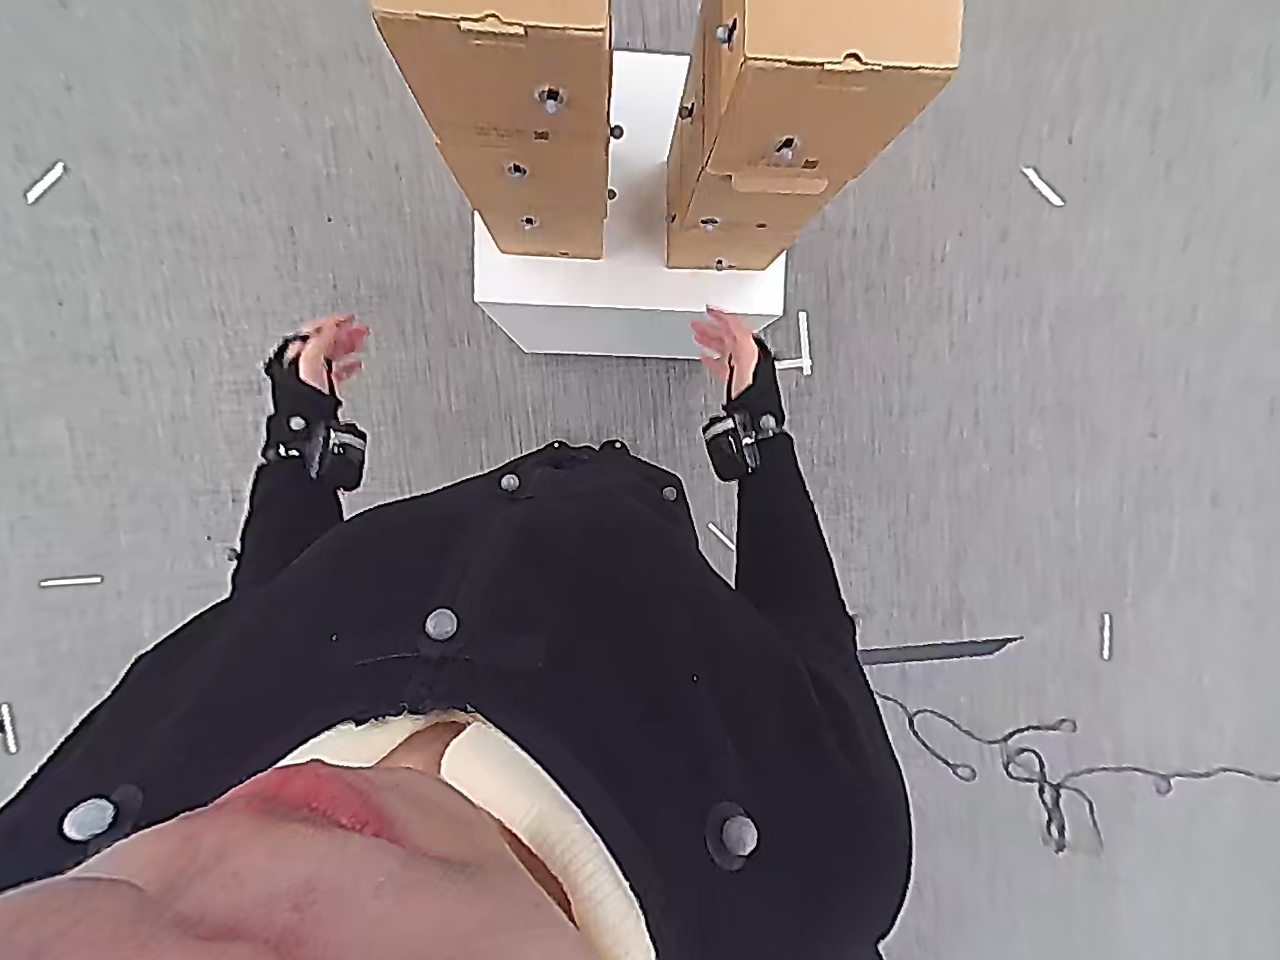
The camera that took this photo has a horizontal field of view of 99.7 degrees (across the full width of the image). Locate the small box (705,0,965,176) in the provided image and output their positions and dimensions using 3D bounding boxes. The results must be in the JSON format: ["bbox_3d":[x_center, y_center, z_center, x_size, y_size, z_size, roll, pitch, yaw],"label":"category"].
[{"bbox_3d":[0.152,-0.396,0.470,0.168,0.176,0.179,0,96,-4],"label":"small box"}]

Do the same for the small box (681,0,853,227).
[{"bbox_3d":[0.141,-0.413,0.631,0.168,0.176,0.179,0,95,-3],"label":"small box"}]

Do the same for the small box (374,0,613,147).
[{"bbox_3d":[-0.106,-0.410,0.451,0.168,0.176,0.179,1,95,-5],"label":"small box"}]

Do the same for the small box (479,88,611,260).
[{"bbox_3d":[-0.129,-0.439,0.777,0.168,0.176,0.179,2,94,-4],"label":"small box"}]
